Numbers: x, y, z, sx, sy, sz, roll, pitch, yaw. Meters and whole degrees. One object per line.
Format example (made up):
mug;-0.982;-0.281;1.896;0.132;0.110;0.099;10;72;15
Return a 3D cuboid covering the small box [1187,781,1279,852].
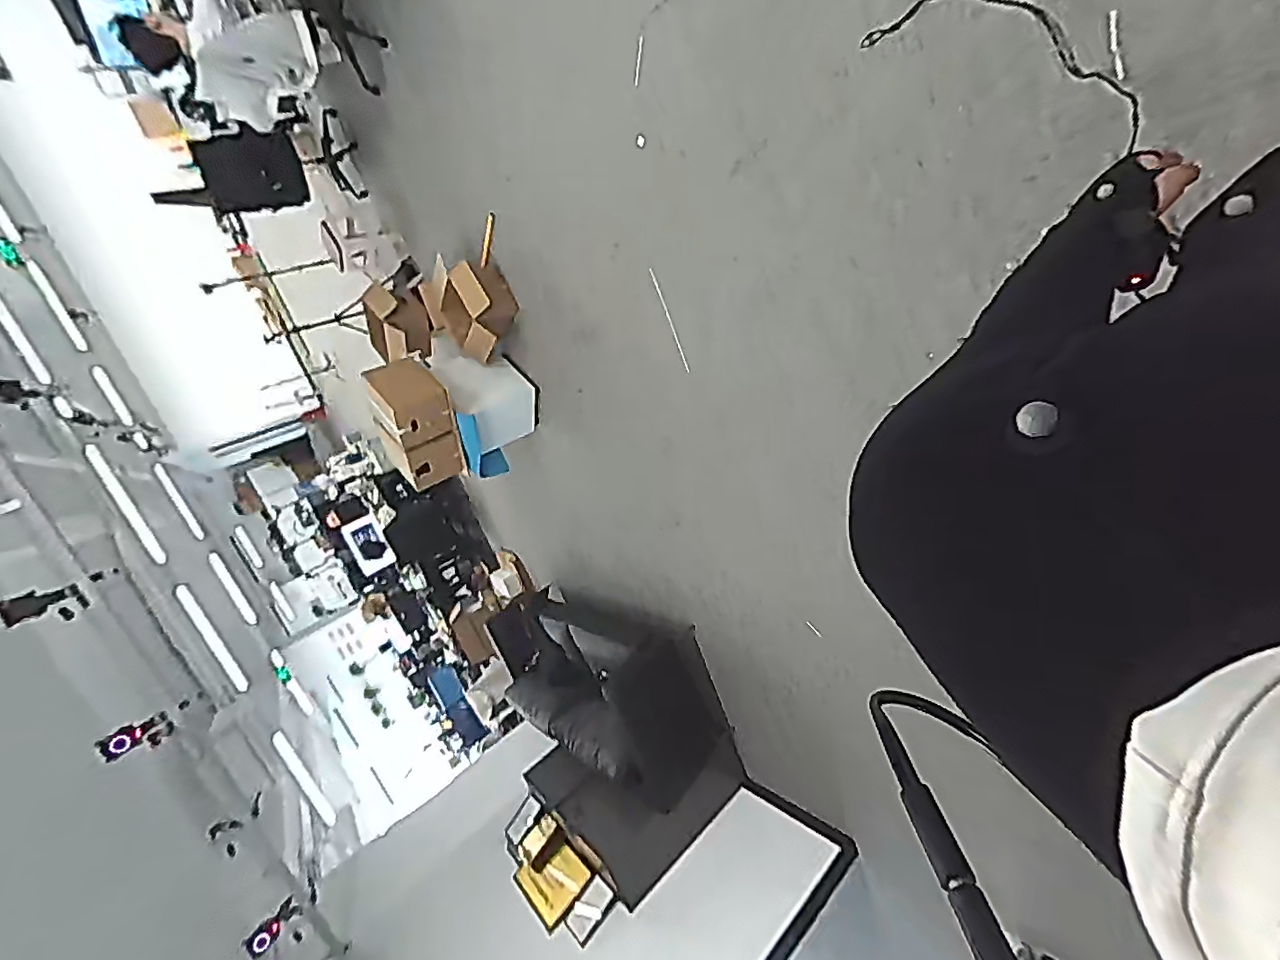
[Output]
small box;1.182;0.684;1.026;0.179;0.176;0.168;2;117;53

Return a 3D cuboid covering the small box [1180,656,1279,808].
small box;1.088;0.440;0.952;0.179;0.176;0.168;5;120;53
